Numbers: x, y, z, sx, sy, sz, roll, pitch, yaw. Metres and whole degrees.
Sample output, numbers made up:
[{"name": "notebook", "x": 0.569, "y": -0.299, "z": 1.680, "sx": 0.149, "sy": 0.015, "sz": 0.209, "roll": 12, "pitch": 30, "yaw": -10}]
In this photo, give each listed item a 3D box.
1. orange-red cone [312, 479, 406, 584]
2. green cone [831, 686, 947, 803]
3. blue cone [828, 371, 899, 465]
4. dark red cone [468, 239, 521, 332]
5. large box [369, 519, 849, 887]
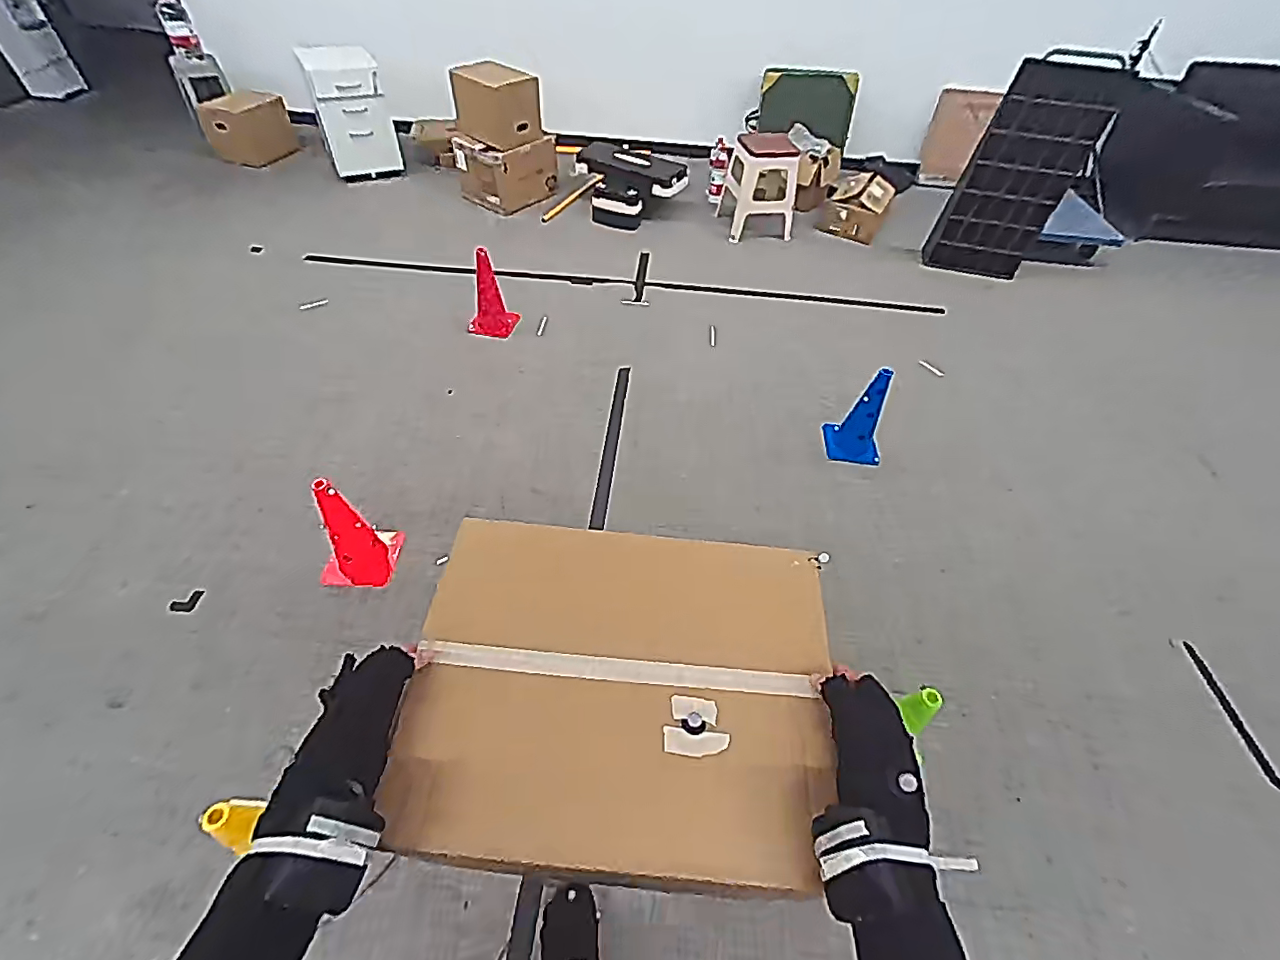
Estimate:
[{"name": "orange-red cone", "x": -0.840, "y": 0.124, "z": 1.542, "sx": 0.198, "sy": 0.360, "sz": 0.199, "roll": 3, "pitch": 50, "yaw": 0}, {"name": "green cone", "x": 0.603, "y": 0.569, "z": 1.253, "sx": 0.202, "sy": 0.368, "sz": 0.200, "roll": -23, "pitch": 55, "yaw": -24}, {"name": "blue cone", "x": 0.850, "y": -0.244, "z": 2.001, "sx": 0.192, "sy": 0.380, "sz": 0.193, "roll": 9, "pitch": 49, "yaw": 2}, {"name": "dark red cone", "x": -0.658, "y": -0.857, "z": 2.376, "sx": 0.201, "sy": 0.394, "sz": 0.202, "roll": 11, "pitch": 49, "yaw": 4}, {"name": "large box", "x": -0.025, "y": 0.273, "z": 0.646, "sx": 0.408, "sy": 0.320, "sz": 0.320, "roll": 6, "pitch": 52, "yaw": 0}]
